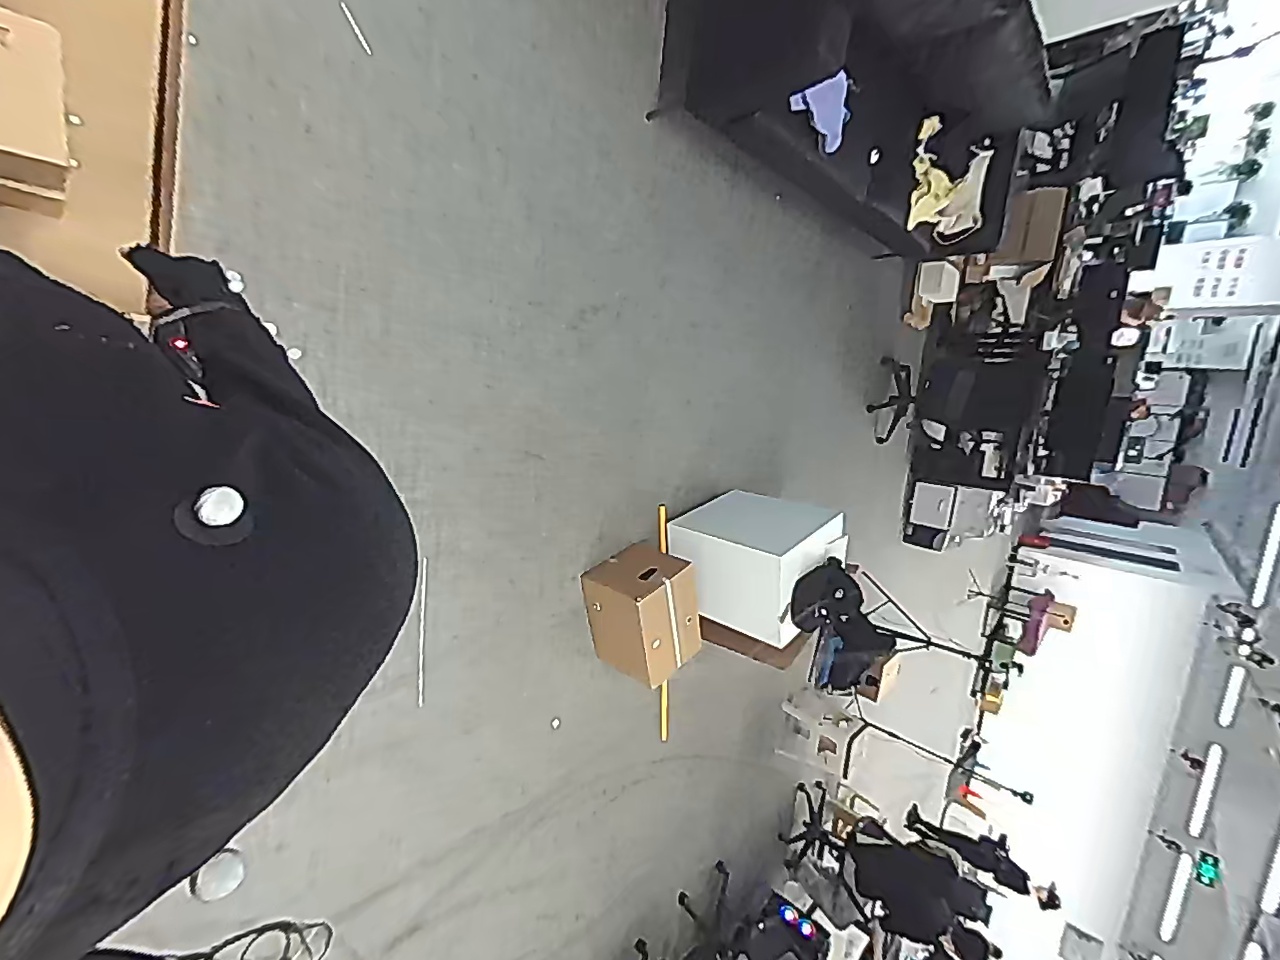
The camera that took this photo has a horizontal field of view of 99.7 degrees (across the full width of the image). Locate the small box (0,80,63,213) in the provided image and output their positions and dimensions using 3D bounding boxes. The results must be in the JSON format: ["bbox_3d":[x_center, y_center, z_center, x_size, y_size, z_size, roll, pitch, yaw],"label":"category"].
[{"bbox_3d":[-1.004,-0.536,0.822,0.168,0.176,0.179,-1,99,-48],"label":"small box"}]

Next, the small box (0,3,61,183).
[{"bbox_3d":[-0.885,-0.519,0.710,0.168,0.176,0.179,-5,102,-48],"label":"small box"}]
